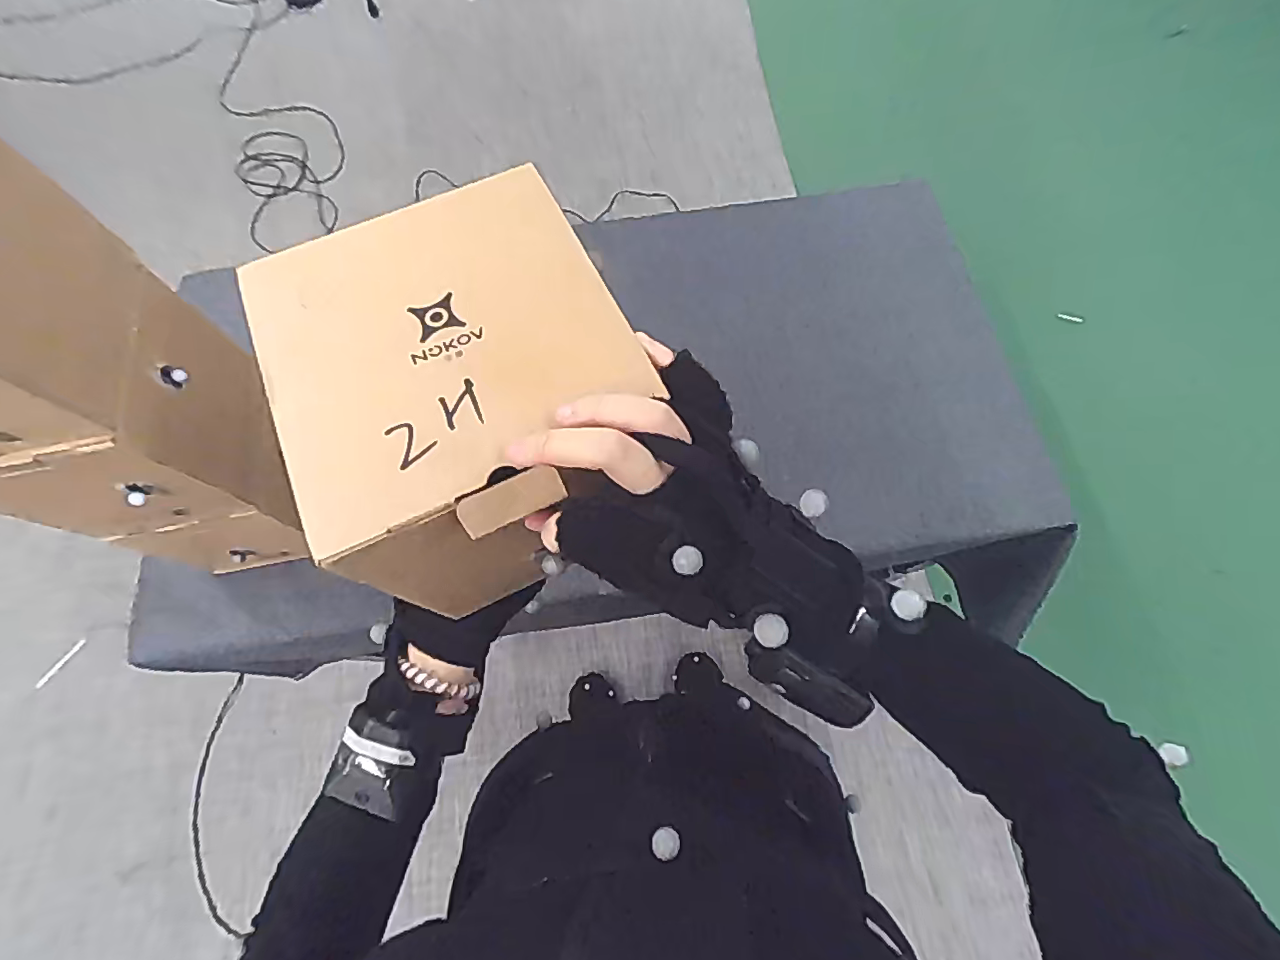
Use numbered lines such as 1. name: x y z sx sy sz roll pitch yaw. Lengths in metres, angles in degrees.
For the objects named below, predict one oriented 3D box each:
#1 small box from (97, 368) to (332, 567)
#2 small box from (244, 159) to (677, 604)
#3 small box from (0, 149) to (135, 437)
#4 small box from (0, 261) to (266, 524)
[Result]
1. small box: -0.484 -0.007 0.655 0.168 0.176 0.179 -11 70 -4
2. small box: -0.091 -0.044 0.332 0.168 0.176 0.179 -25 71 -8
3. small box: -0.487 -0.130 0.352 0.168 0.176 0.179 -11 70 -5
4. small box: -0.485 -0.066 0.503 0.168 0.176 0.179 -10 70 -4
